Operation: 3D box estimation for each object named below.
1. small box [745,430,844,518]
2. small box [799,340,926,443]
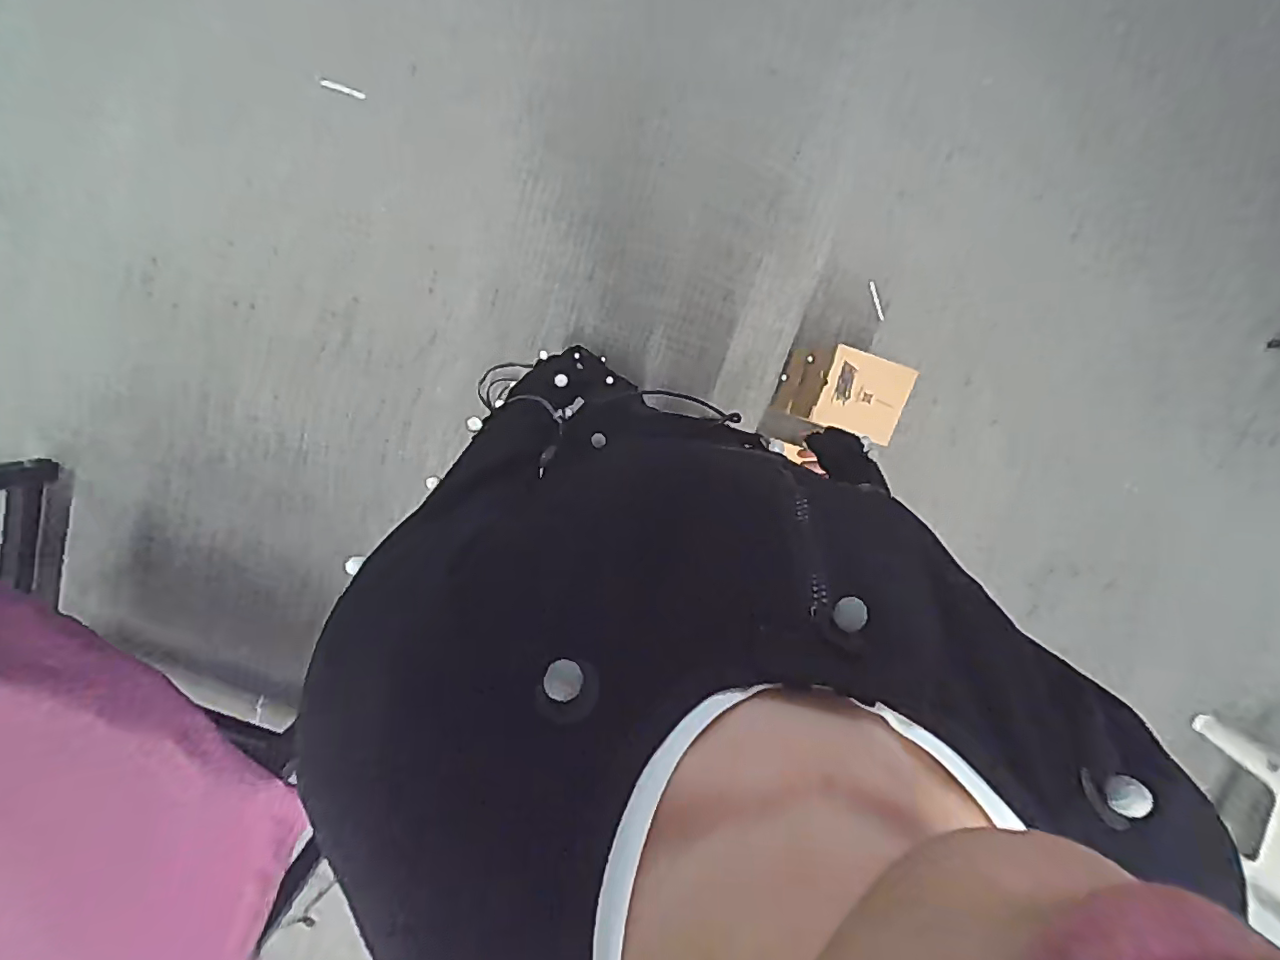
[{"bbox_3d":[0.385,-0.022,1.378,0.179,0.176,0.168,17,101,-1],"label":"small box"},{"bbox_3d":[0.468,-0.192,1.173,0.179,0.176,0.168,18,102,-2],"label":"small box"}]
